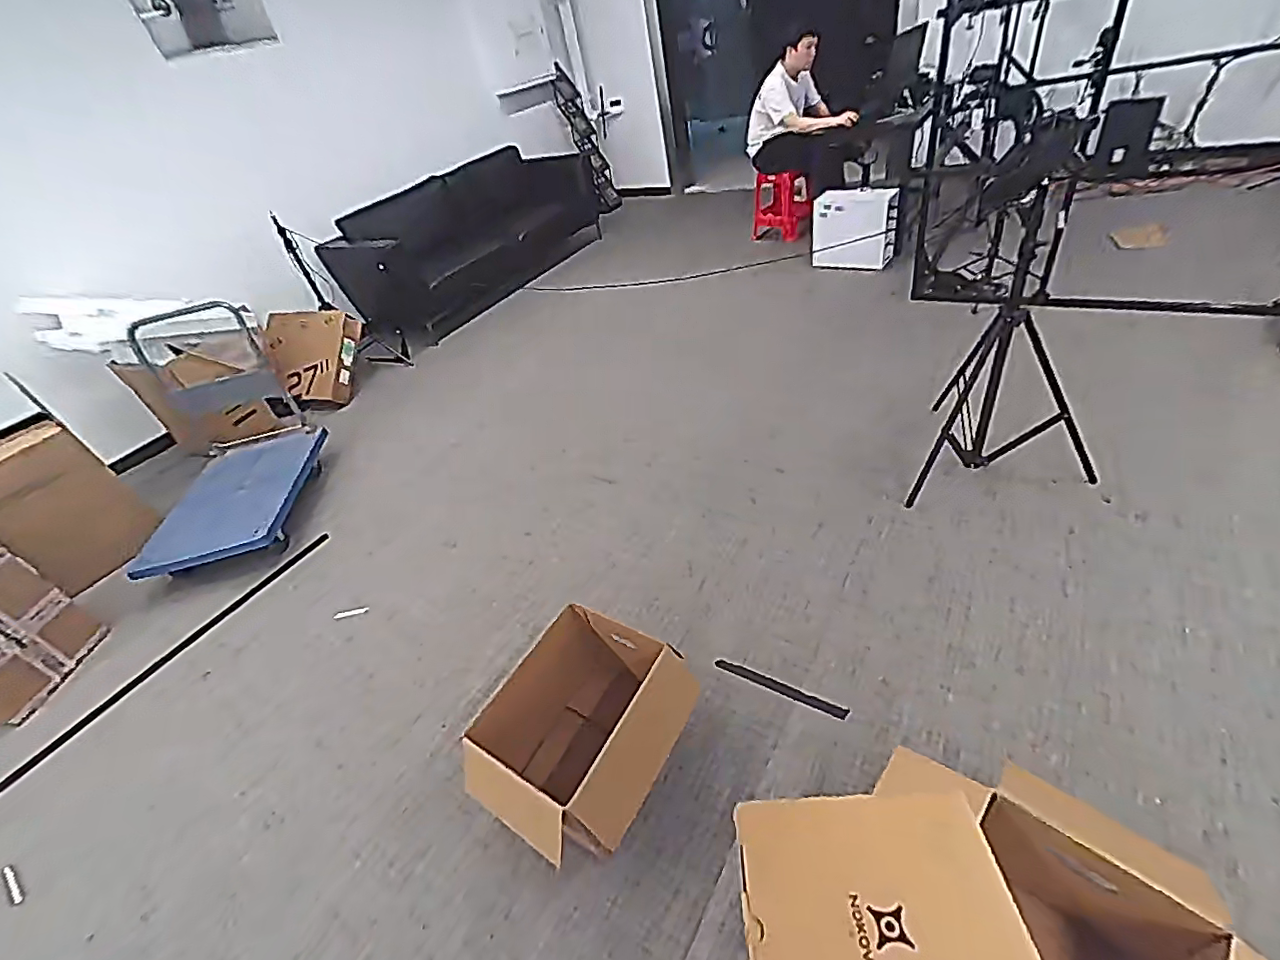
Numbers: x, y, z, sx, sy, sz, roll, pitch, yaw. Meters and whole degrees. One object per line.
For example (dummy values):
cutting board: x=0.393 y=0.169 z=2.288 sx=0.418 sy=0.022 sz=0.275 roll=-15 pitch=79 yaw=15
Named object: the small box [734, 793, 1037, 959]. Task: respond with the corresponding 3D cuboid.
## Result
small box: x=0.168 y=0.355 z=0.392 sx=0.179 sy=0.176 sz=0.168 roll=-7 pitch=33 yaw=6
